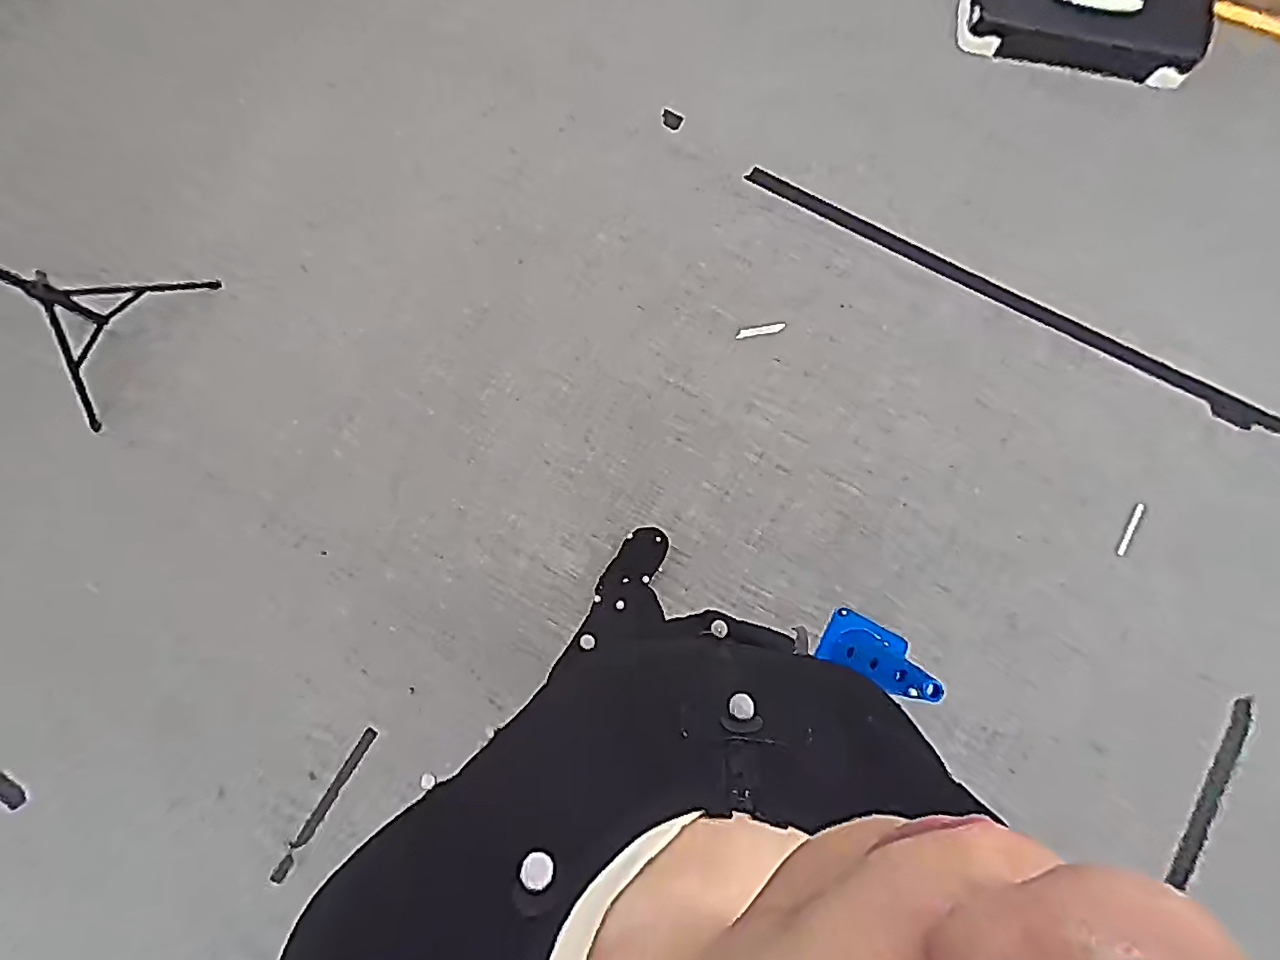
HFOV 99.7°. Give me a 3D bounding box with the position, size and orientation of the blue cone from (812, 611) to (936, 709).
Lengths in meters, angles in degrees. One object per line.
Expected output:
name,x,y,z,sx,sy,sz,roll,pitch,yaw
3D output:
blue cone,0.538,0.419,1.172,0.192,0.380,0.193,29,83,5
